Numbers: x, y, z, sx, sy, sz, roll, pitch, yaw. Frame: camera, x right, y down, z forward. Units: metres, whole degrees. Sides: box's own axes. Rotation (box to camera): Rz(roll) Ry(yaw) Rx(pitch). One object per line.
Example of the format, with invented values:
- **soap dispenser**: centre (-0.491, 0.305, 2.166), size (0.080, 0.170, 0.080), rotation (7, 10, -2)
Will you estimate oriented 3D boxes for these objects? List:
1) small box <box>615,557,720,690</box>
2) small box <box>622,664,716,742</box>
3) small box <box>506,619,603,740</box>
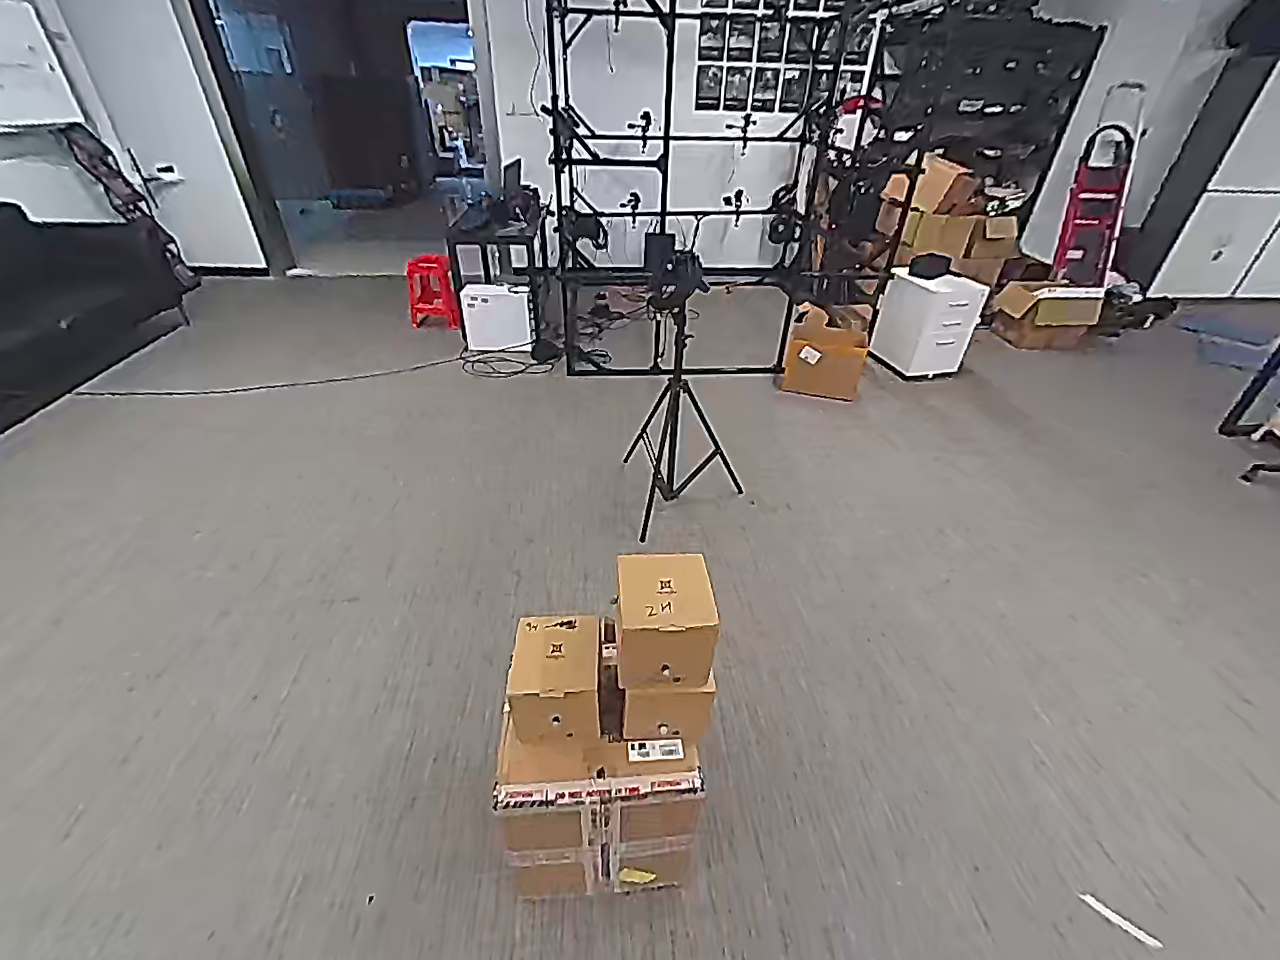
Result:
- **small box**: centre (0.041, 0.263, 1.002), size (0.168, 0.176, 0.179), rotation (0, 37, -6)
- **small box**: centre (0.050, 0.403, 1.091), size (0.168, 0.176, 0.179), rotation (1, 37, -4)
- **small box**: centre (-0.160, 0.402, 1.080), size (0.168, 0.176, 0.179), rotation (-1, 38, -2)
